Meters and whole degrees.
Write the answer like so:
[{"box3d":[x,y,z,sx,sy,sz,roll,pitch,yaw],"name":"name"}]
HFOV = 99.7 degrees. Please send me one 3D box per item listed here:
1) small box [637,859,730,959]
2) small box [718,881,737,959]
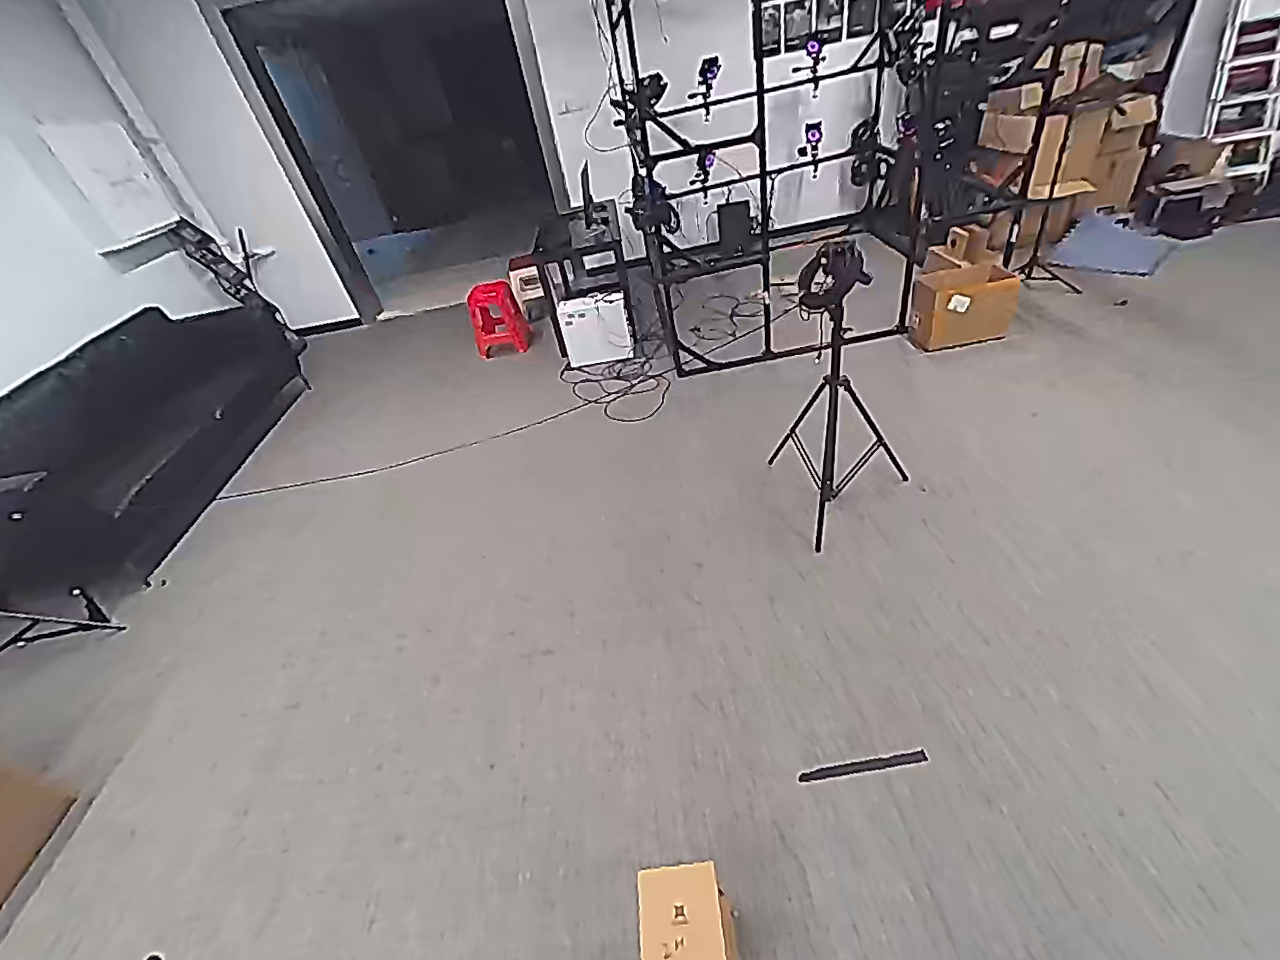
[{"box3d":[0.090,0.922,1.120,0.168,0.176,0.179,-11,38,5],"name":"small box"},{"box3d":[0.127,1.045,1.223,0.168,0.176,0.179,-10,38,6],"name":"small box"}]
